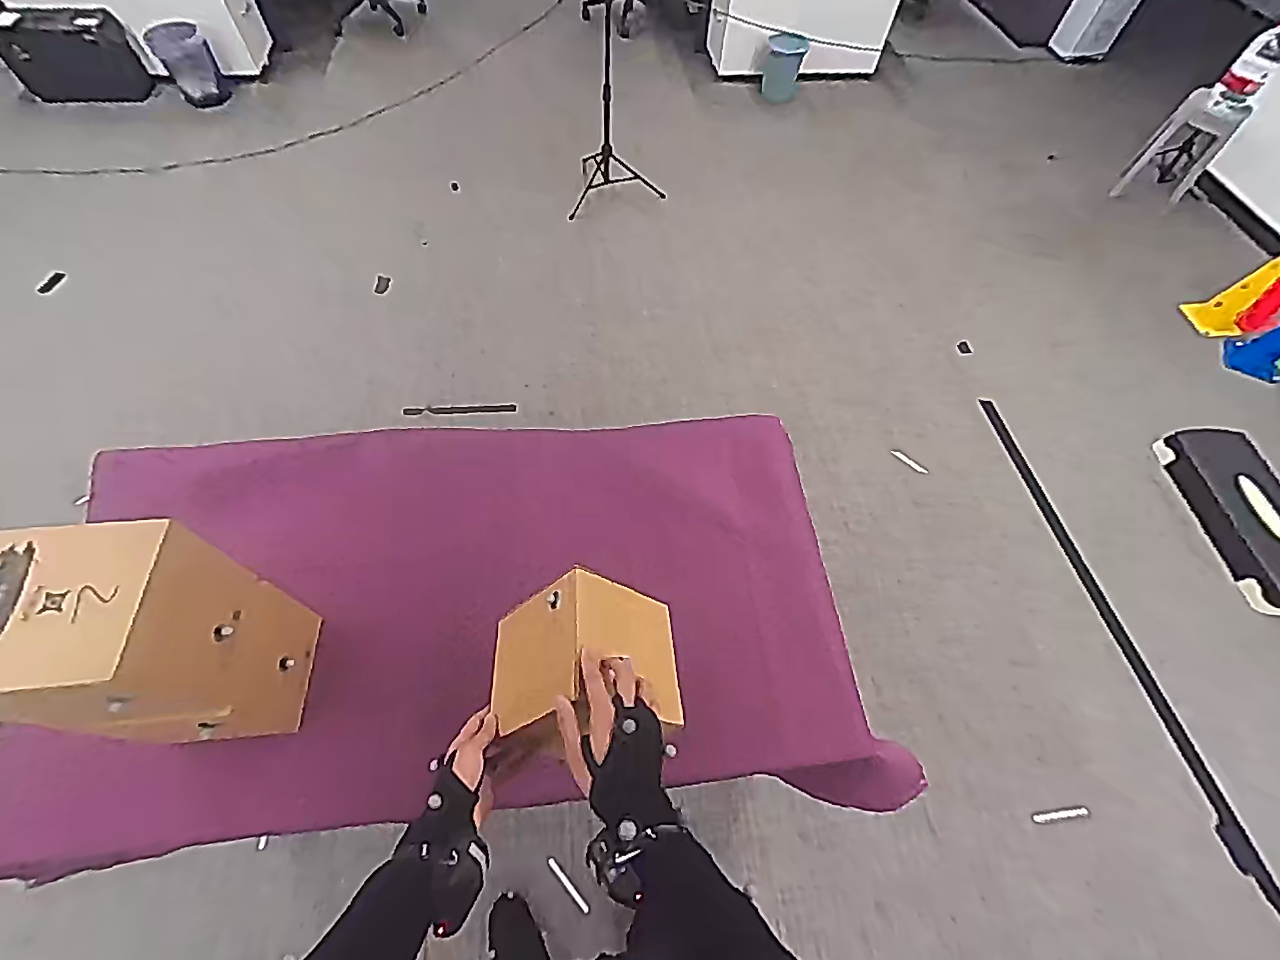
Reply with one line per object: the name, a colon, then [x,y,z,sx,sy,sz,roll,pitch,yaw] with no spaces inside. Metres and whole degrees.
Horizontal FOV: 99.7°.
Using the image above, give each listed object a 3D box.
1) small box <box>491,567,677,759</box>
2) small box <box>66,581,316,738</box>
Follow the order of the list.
small box: [-0.073,0.245,0.693,0.168,0.179,0.176,29,38,-32]
small box: [-0.568,0.243,0.720,0.179,0.176,0.168,-2,59,-5]
